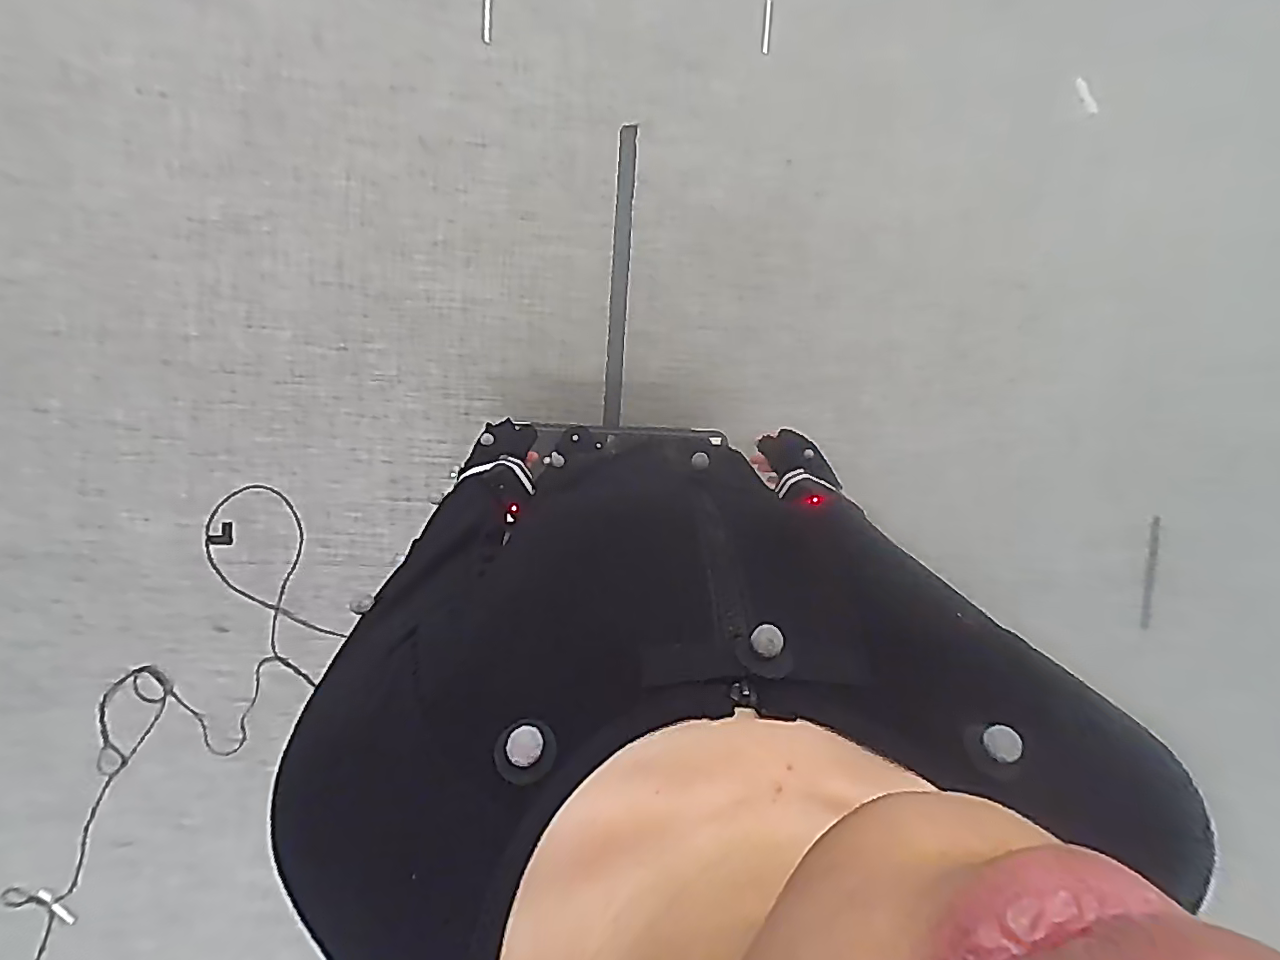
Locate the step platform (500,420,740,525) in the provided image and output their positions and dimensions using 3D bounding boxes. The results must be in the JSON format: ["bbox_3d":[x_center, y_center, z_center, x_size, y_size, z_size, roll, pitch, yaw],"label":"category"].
[{"bbox_3d":[-0.056,-0.022,1.569,0.684,0.204,0.286,1,95,-5],"label":"step platform"}]
